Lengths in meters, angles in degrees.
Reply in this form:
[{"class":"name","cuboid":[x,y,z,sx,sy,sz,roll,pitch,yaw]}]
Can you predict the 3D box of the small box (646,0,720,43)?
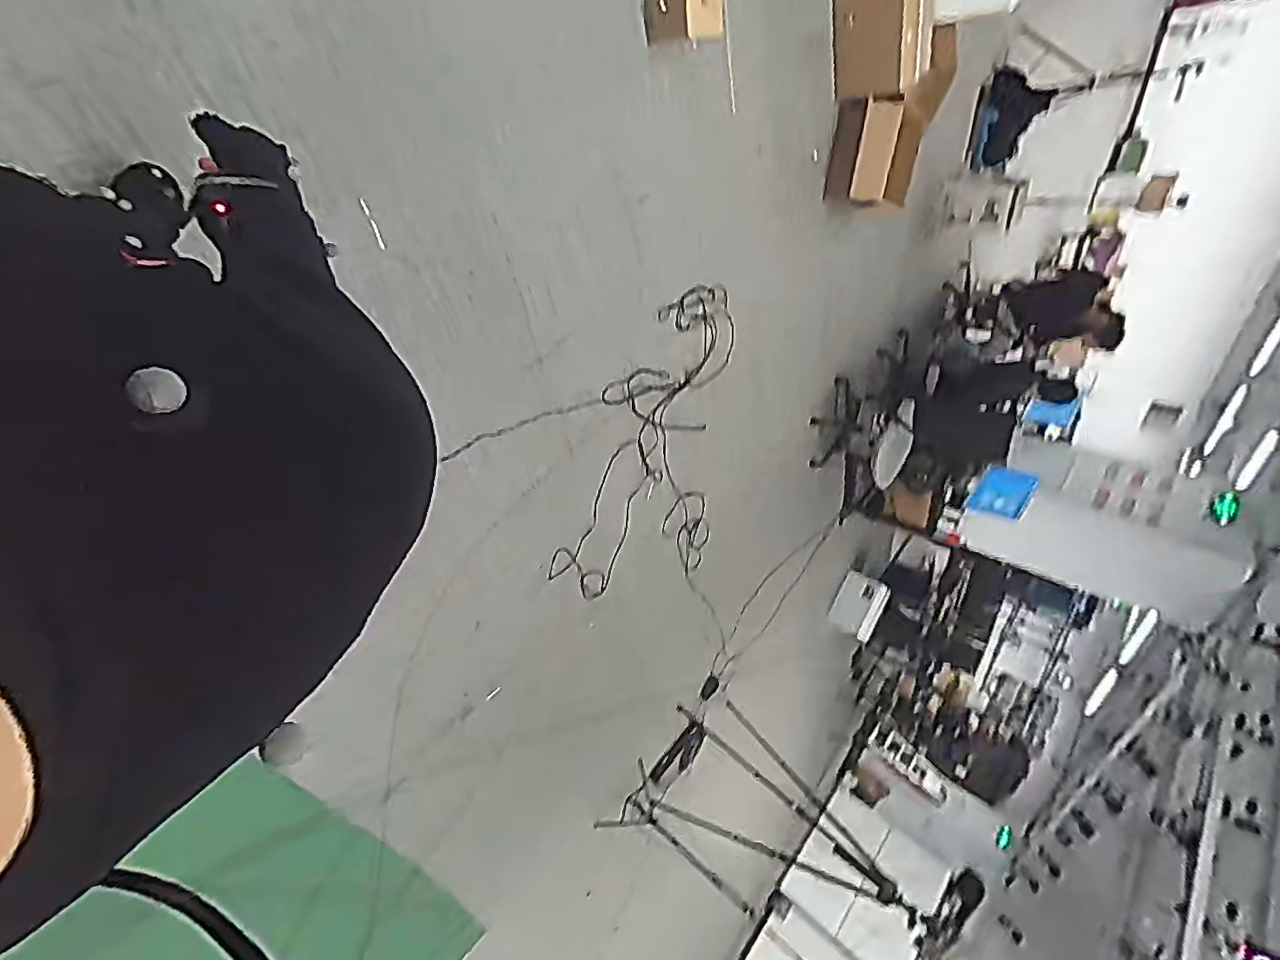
[{"class":"small box","cuboid":[0.130,-1.481,1.685,0.179,0.176,0.168,-35,134,-33]}]
